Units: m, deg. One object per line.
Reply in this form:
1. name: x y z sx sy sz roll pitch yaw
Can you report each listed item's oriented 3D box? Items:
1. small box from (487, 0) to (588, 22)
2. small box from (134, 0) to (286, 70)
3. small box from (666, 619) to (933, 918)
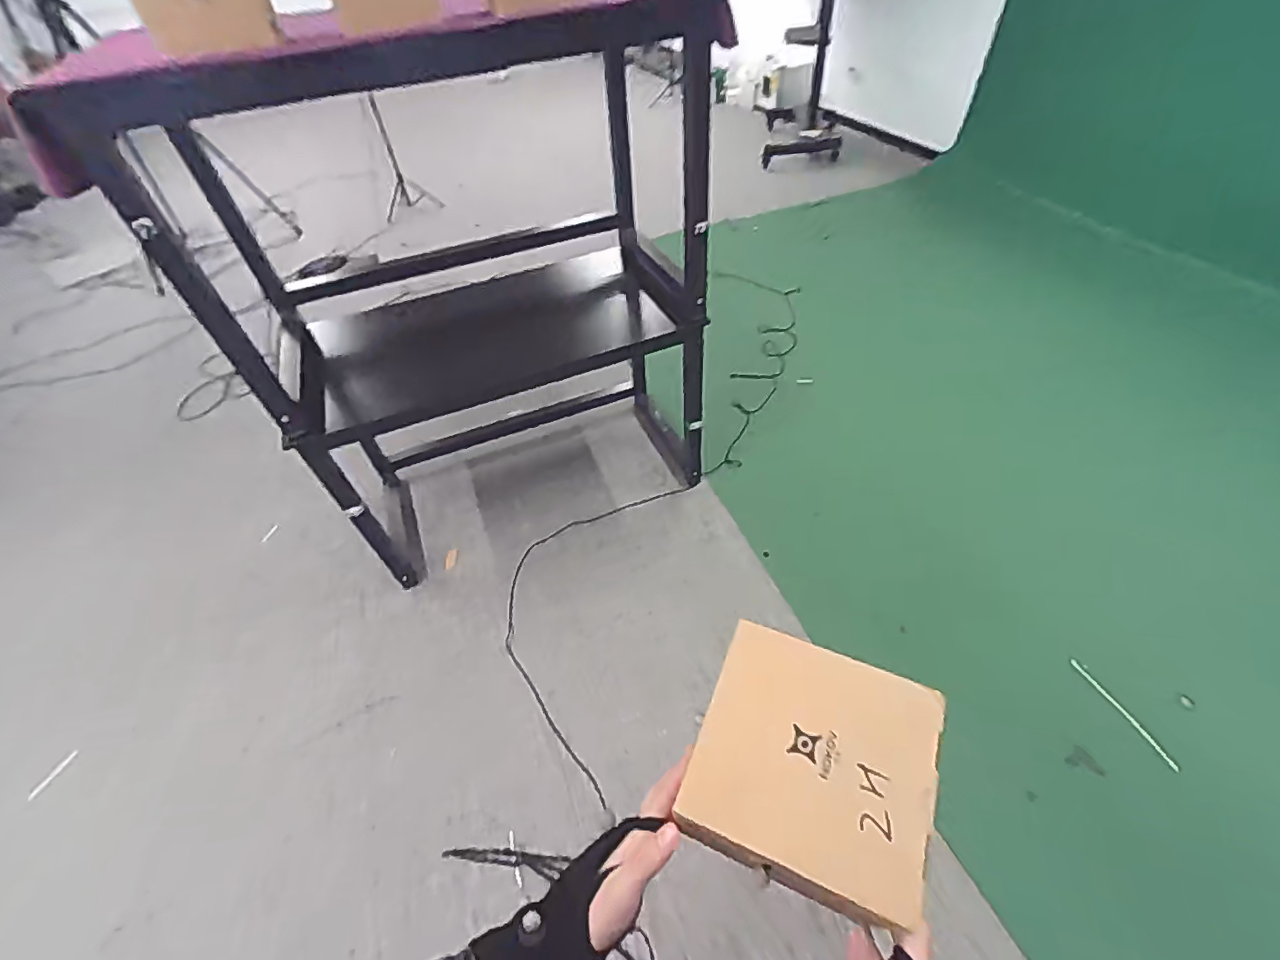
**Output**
1. small box: -0.211 -0.987 1.016 0.179 0.176 0.168 -18 50 -11
2. small box: -0.721 -0.807 0.895 0.179 0.176 0.168 -19 48 -11
3. small box: 0.135 0.257 0.488 0.179 0.176 0.168 17 56 17
